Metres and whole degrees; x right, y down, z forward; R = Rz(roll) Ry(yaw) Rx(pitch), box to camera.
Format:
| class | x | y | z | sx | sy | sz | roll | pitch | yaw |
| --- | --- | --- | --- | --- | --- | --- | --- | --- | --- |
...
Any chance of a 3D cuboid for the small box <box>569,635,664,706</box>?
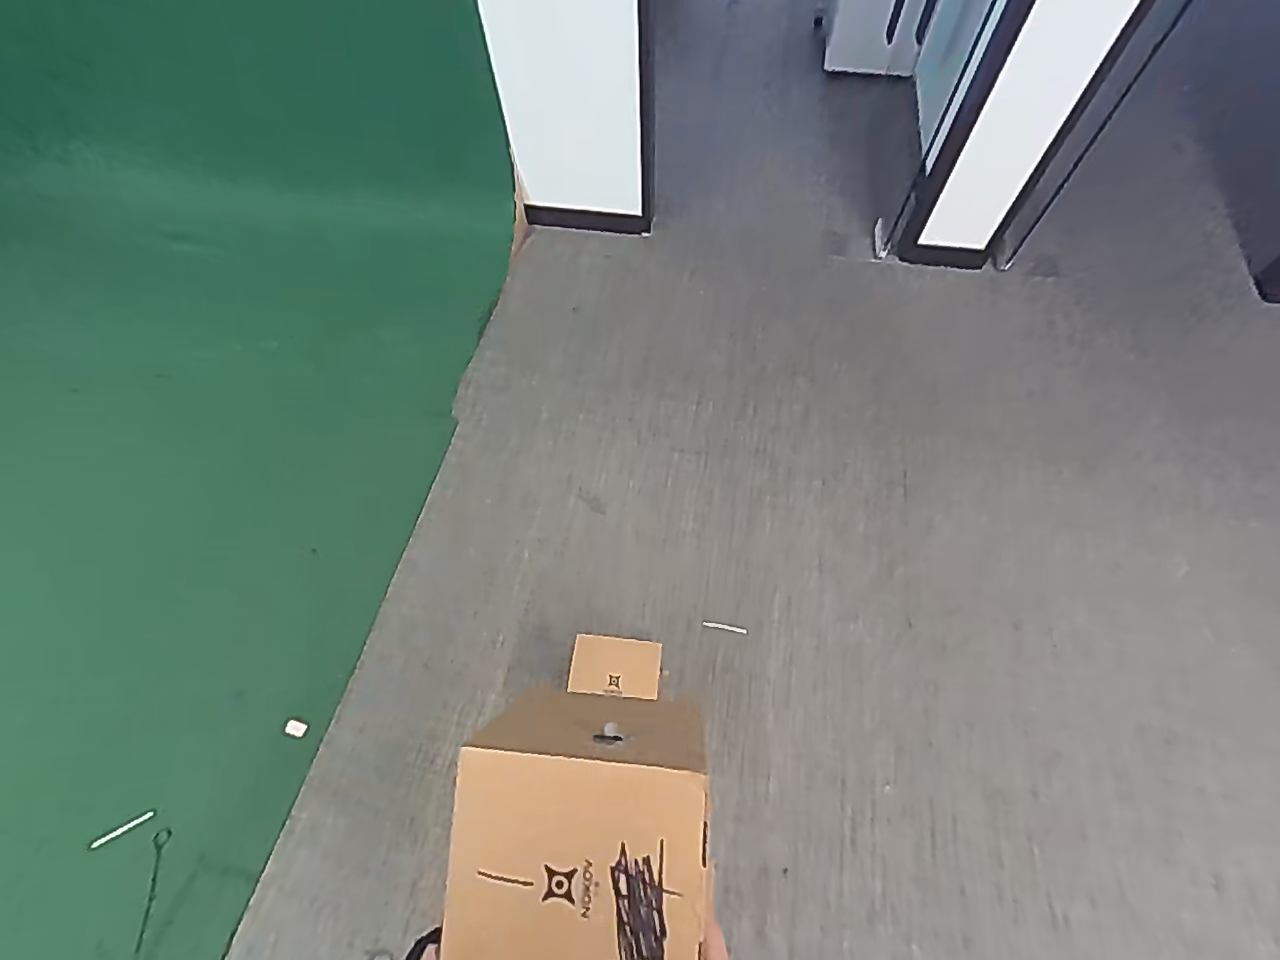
| class | x | y | z | sx | sy | sz | roll | pitch | yaw |
| --- | --- | --- | --- | --- | --- | --- | --- | --- | --- |
| small box | -0.044 | 0.418 | 1.056 | 0.168 | 0.176 | 0.179 | 5 | 63 | 5 |

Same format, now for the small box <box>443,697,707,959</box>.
| class | x | y | z | sx | sy | sz | roll | pitch | yaw |
| --- | --- | --- | --- | --- | --- | --- | --- | --- | --- |
| small box | -0.037 | 0.288 | 0.447 | 0.179 | 0.176 | 0.168 | 2 | 81 | 8 |
